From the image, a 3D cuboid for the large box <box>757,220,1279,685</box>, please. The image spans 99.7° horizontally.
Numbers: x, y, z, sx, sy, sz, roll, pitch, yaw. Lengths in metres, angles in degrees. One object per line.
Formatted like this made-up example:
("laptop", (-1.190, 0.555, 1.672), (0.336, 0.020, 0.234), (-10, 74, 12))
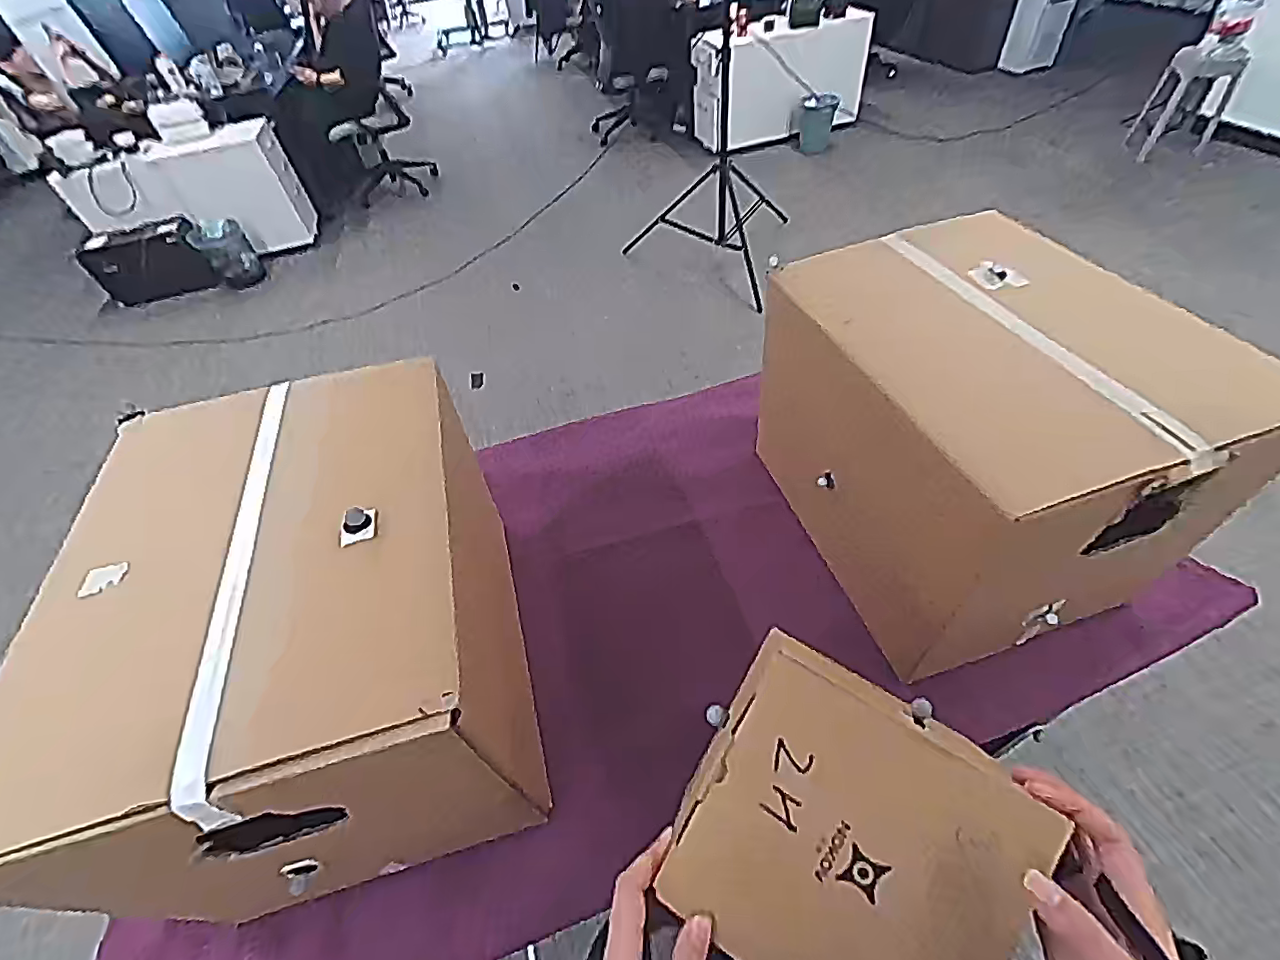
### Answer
("large box", (0.367, -0.046, 0.635), (0.320, 0.320, 0.408), (-16, 48, -7))
